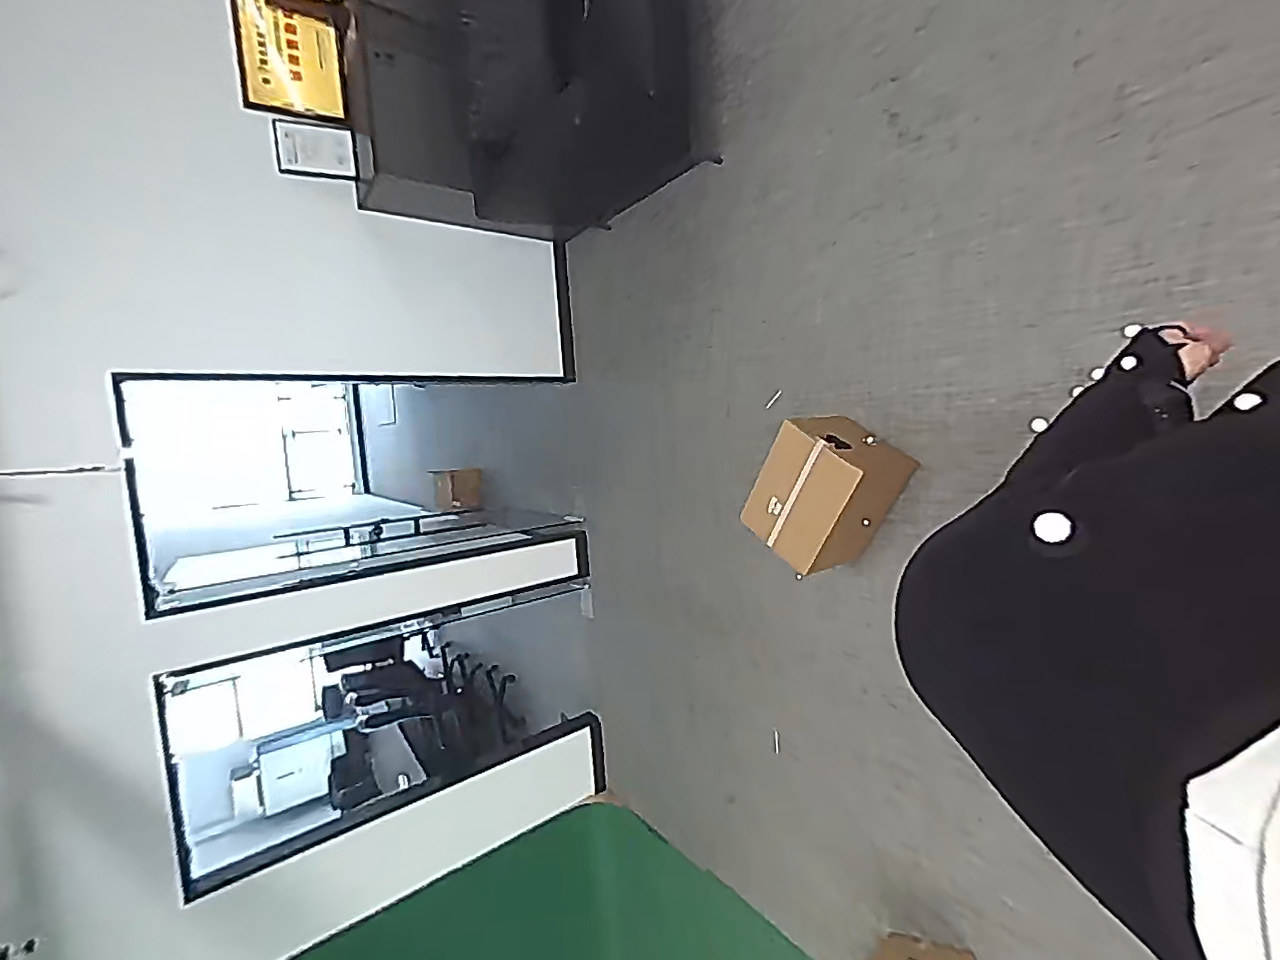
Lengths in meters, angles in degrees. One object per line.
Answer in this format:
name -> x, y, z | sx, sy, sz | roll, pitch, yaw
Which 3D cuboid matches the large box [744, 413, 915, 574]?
large box -> 0.610, 0.030, 1.771 | 0.320, 0.320, 0.408 | 46, 132, 40
